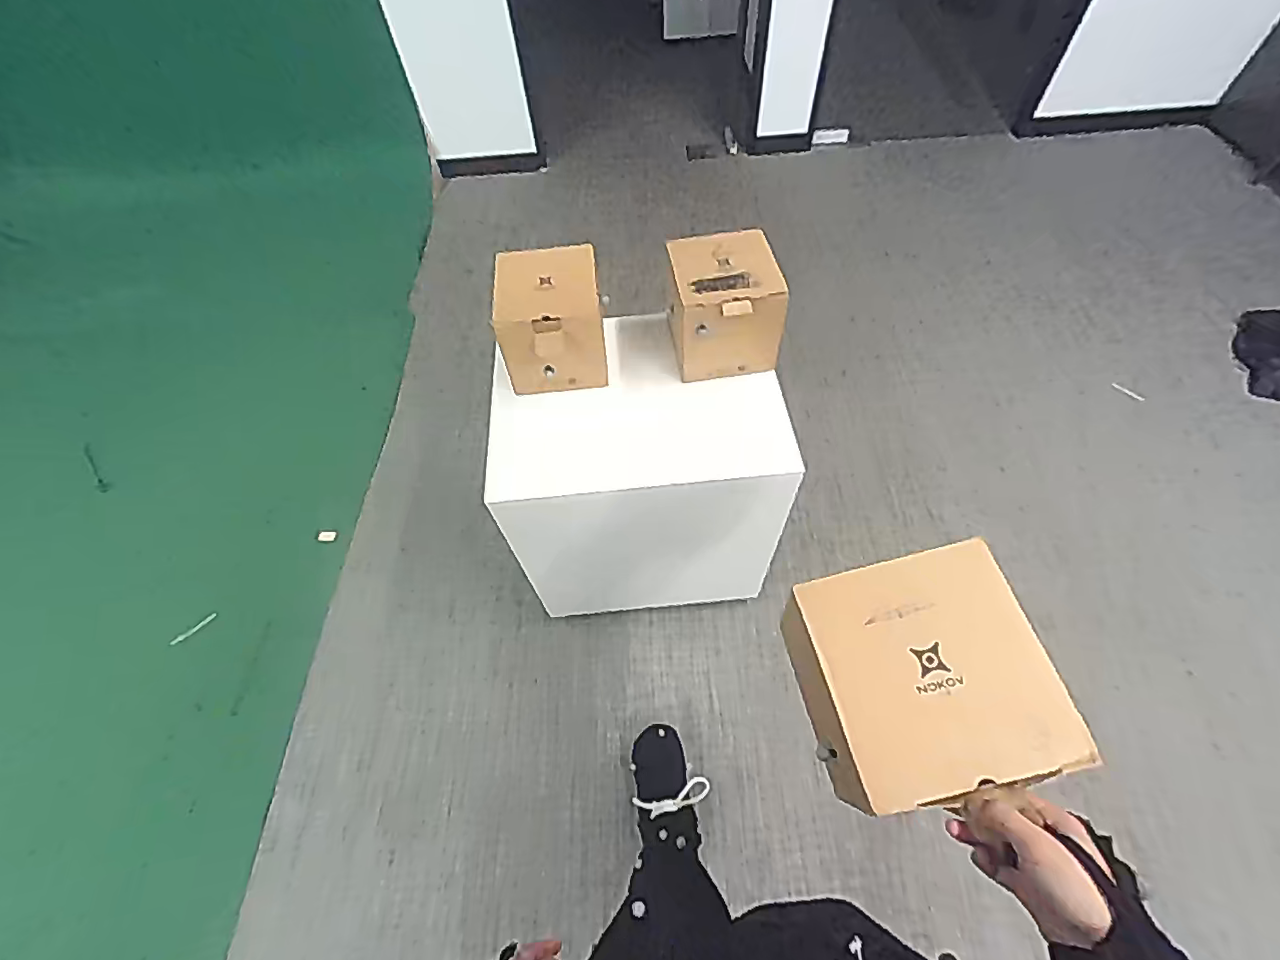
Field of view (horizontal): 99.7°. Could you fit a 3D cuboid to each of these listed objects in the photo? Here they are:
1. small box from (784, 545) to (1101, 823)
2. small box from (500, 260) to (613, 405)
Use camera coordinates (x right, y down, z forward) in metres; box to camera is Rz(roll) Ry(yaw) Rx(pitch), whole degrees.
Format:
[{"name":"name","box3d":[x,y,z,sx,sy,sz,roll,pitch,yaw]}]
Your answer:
[{"name":"small box","box3d":[0.239,0.184,0.487,0.168,0.176,0.179,-15,61,2]},{"name":"small box","box3d":[-0.139,-0.254,0.943,0.168,0.176,0.179,-6,58,-1]}]
